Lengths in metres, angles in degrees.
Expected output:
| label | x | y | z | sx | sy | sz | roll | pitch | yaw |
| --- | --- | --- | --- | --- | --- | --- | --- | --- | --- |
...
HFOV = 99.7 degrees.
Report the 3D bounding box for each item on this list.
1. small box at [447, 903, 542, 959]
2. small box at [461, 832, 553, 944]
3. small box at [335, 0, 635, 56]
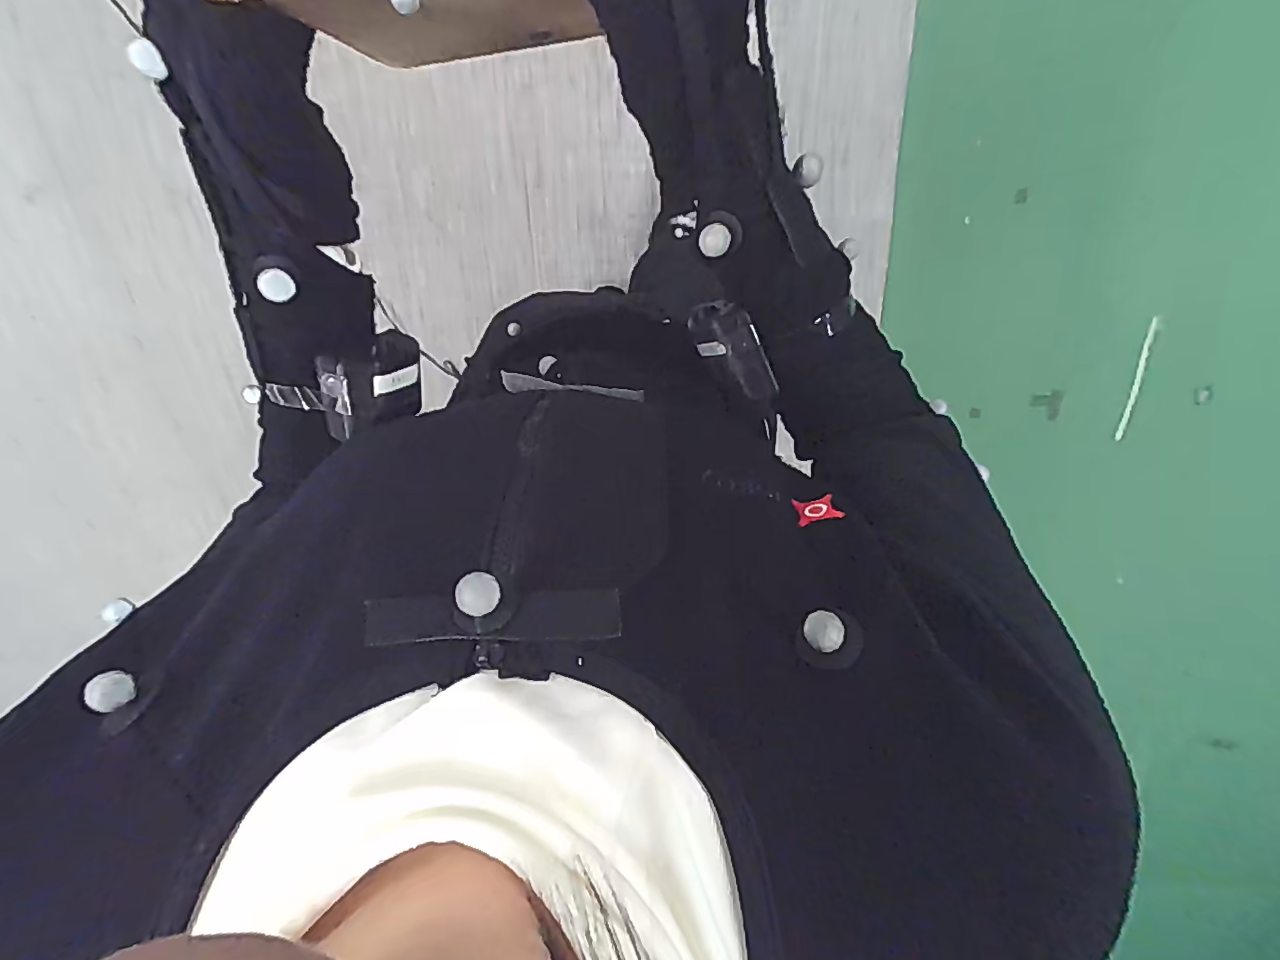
| label | x | y | z | sx | sy | sz | roll | pitch | yaw |
| --- | --- | --- | --- | --- | --- | --- | --- | --- | --- |
| small box | -0.325 | 1.093 | 1.208 | 0.168 | 0.176 | 0.179 | -9 | 111 | 2 |
| small box | -0.324 | 1.029 | 1.359 | 0.168 | 0.176 | 0.179 | -9 | 111 | 3 |
| small box | -0.092 | -0.322 | 0.231 | 0.168 | 0.176 | 0.179 | -7 | 116 | 4 |
